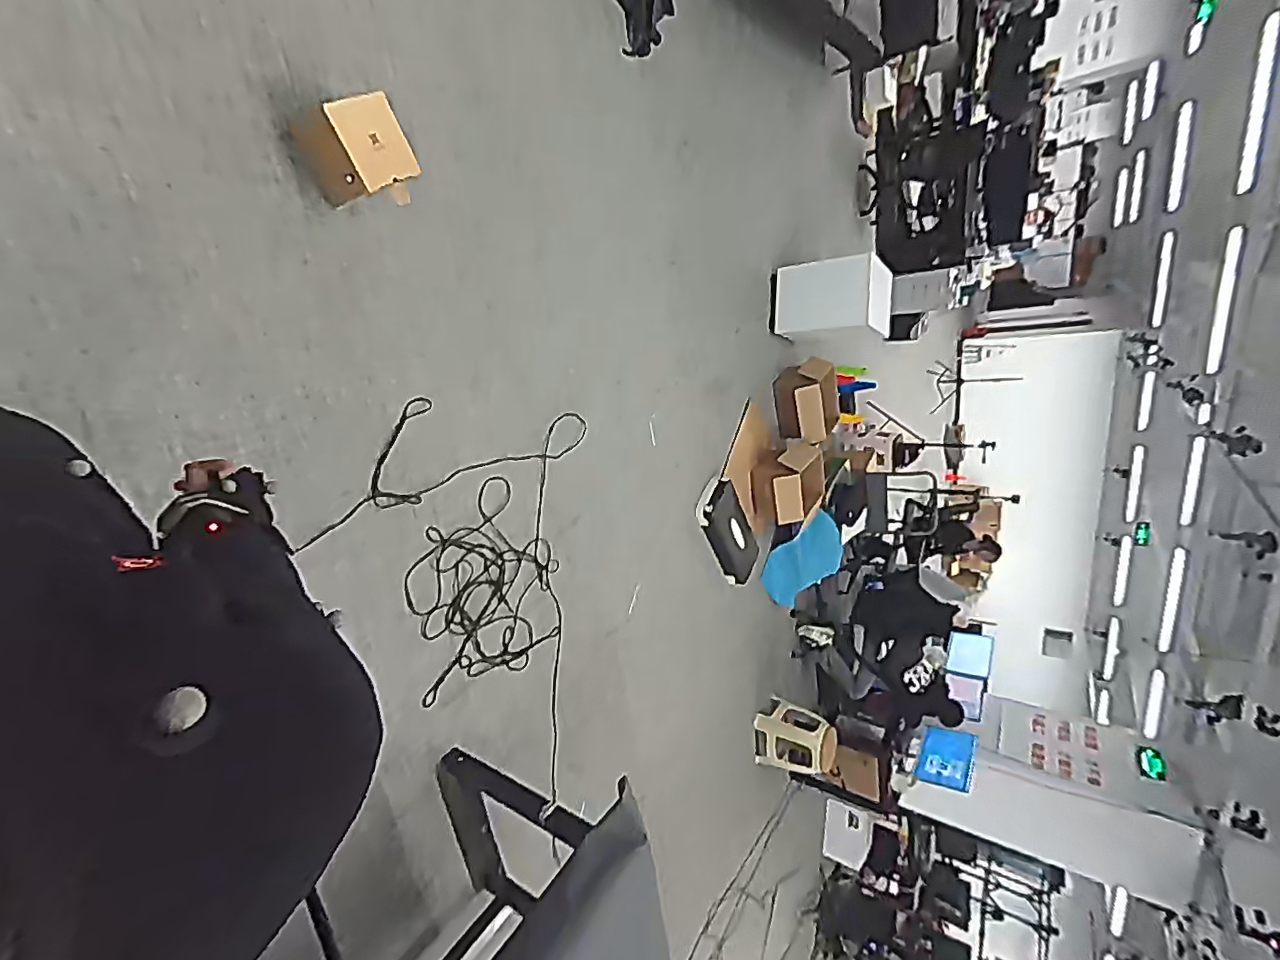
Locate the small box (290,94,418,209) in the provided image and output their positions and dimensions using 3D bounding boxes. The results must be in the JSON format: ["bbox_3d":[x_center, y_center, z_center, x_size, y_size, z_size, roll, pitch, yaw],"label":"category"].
[{"bbox_3d":[-0.672,-0.767,1.270,0.168,0.176,0.179,-52,134,-38],"label":"small box"}]
